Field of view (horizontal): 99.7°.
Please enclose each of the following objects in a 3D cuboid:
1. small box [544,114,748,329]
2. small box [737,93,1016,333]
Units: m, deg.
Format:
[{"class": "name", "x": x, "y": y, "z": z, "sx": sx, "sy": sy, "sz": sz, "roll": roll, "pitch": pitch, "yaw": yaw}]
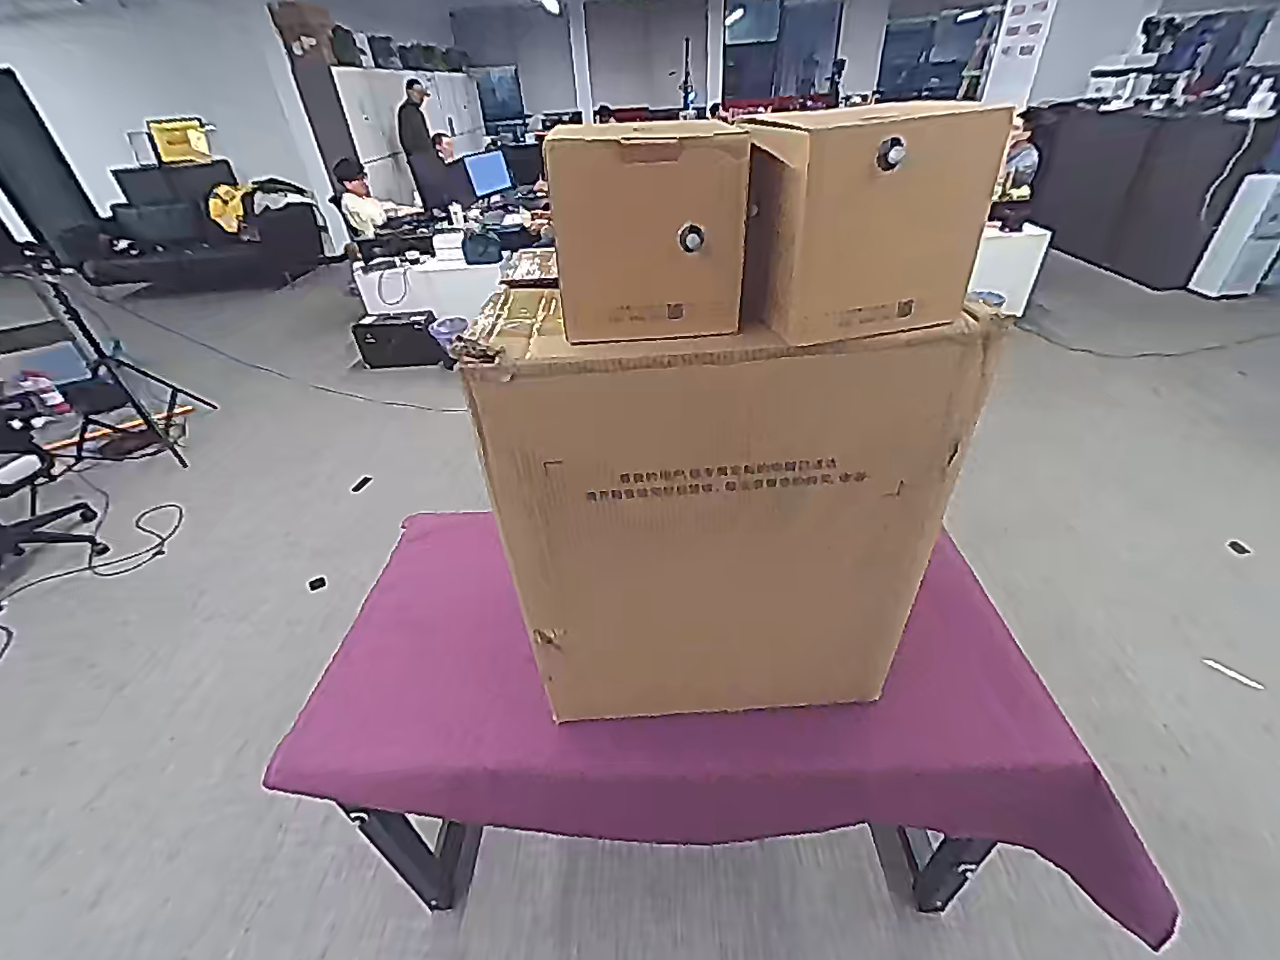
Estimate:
[{"class": "small box", "x": 0.004, "y": -0.254, "z": 0.535, "sx": 0.168, "sy": 0.176, "sz": 0.179, "roll": -3, "pitch": 35, "yaw": -3}, {"class": "small box", "x": 0.193, "y": -0.252, "z": 0.508, "sx": 0.168, "sy": 0.176, "sz": 0.179, "roll": -10, "pitch": 35, "yaw": -6}]
